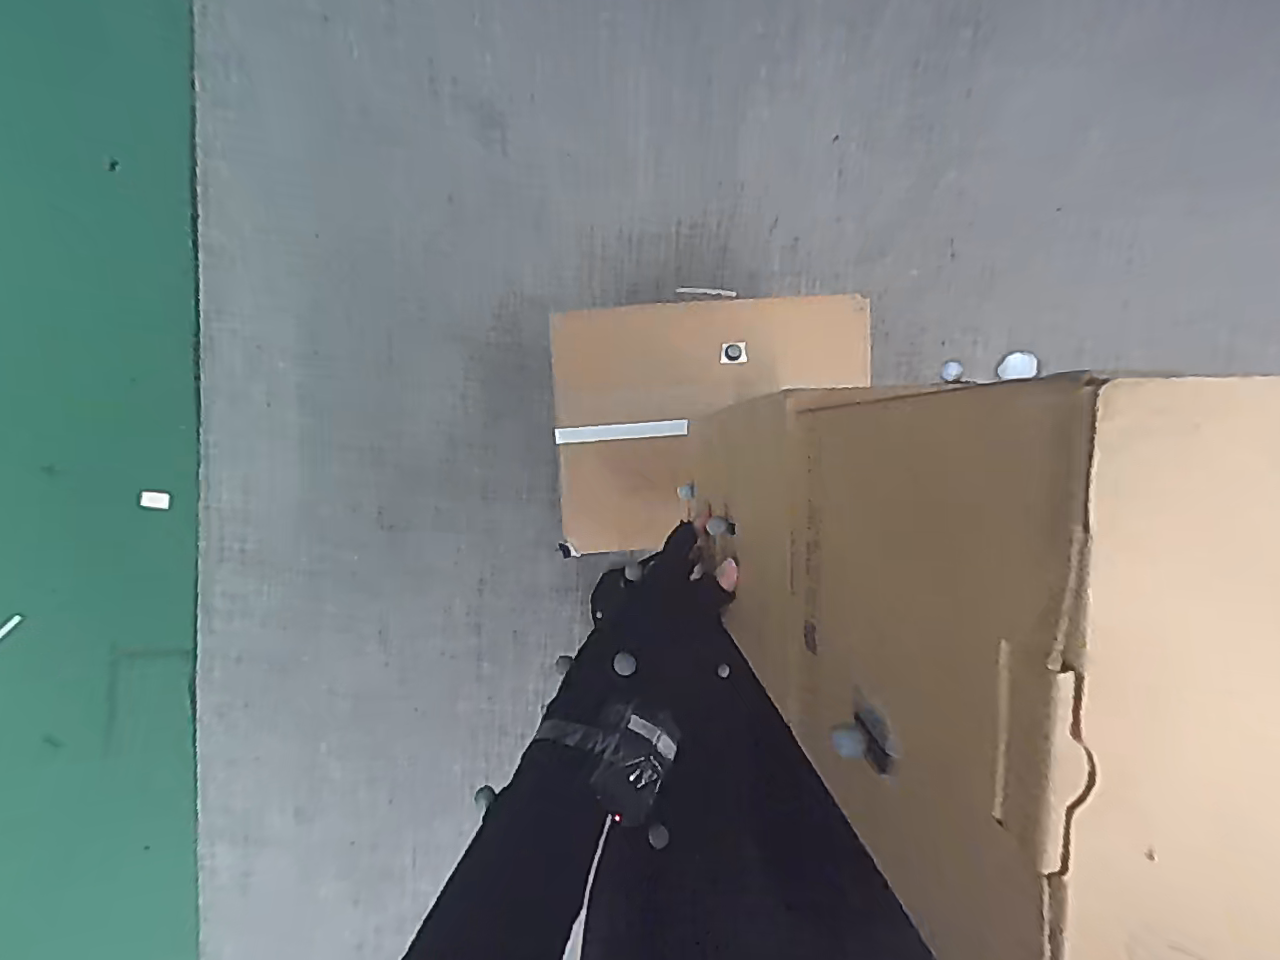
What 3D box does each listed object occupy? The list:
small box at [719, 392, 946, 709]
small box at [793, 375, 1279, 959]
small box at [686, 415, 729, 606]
[{"bbox_3d":[0.152,0.032,0.375,0.168,0.176,0.179,-2,94,-3],"label":"small box"},{"bbox_3d":[0.170,0.050,0.214,0.179,0.176,0.168,-2,95,-4],"label":"small box"},{"bbox_3d":[0.145,0.020,0.537,0.179,0.176,0.168,0,94,-2],"label":"small box"}]
